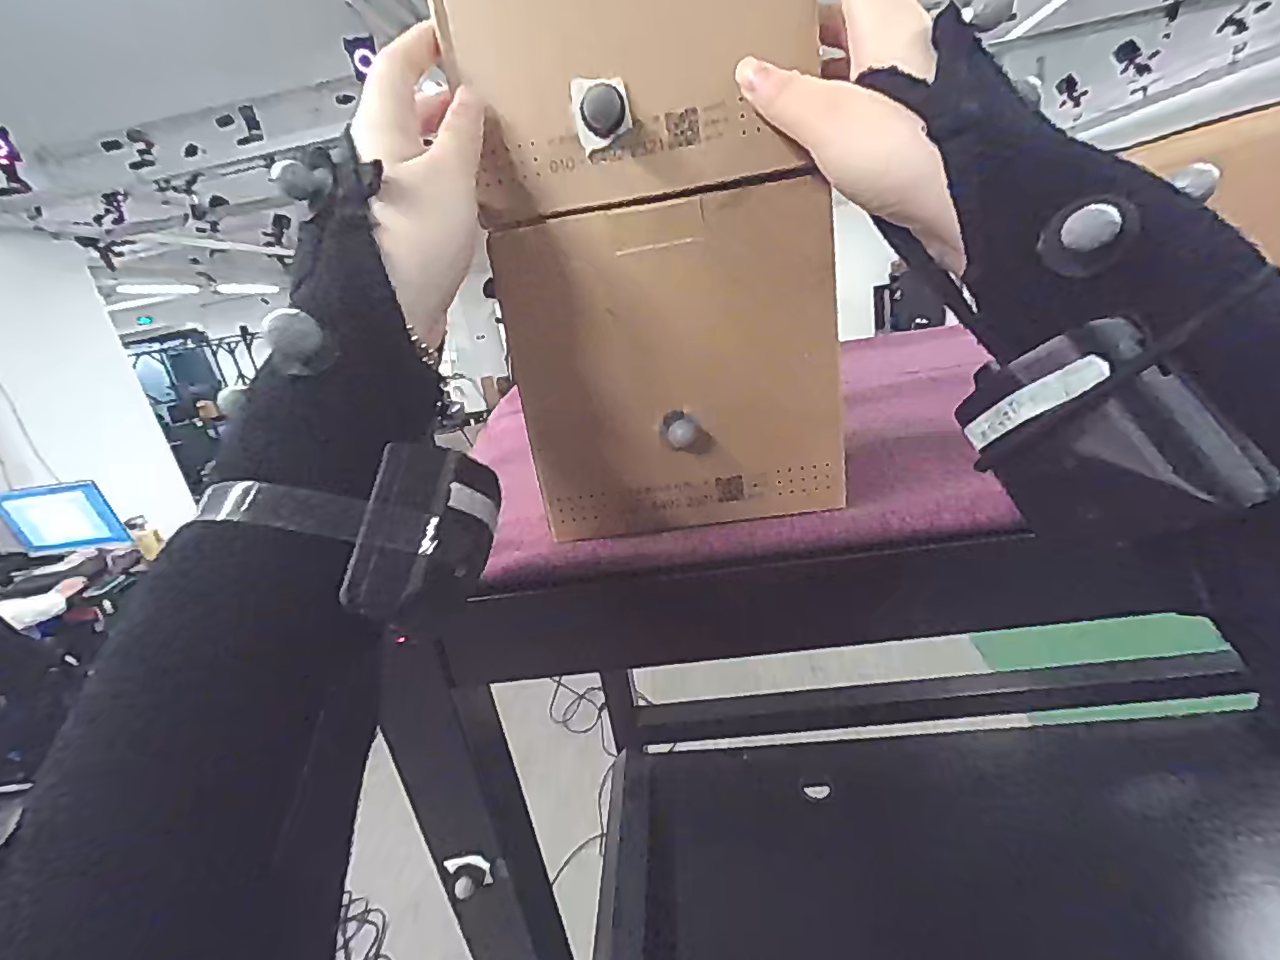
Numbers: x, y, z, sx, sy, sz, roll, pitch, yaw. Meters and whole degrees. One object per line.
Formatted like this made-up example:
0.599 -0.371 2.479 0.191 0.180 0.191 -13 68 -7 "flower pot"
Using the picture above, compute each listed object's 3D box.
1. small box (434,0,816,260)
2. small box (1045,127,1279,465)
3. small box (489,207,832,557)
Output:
-0.002 -0.217 0.309 0.168 0.176 0.179 -8 19 9 "small box"
0.390 -0.118 0.335 0.168 0.176 0.179 -8 20 7 "small box"
0.022 -0.065 0.361 0.168 0.176 0.179 -8 18 7 "small box"
